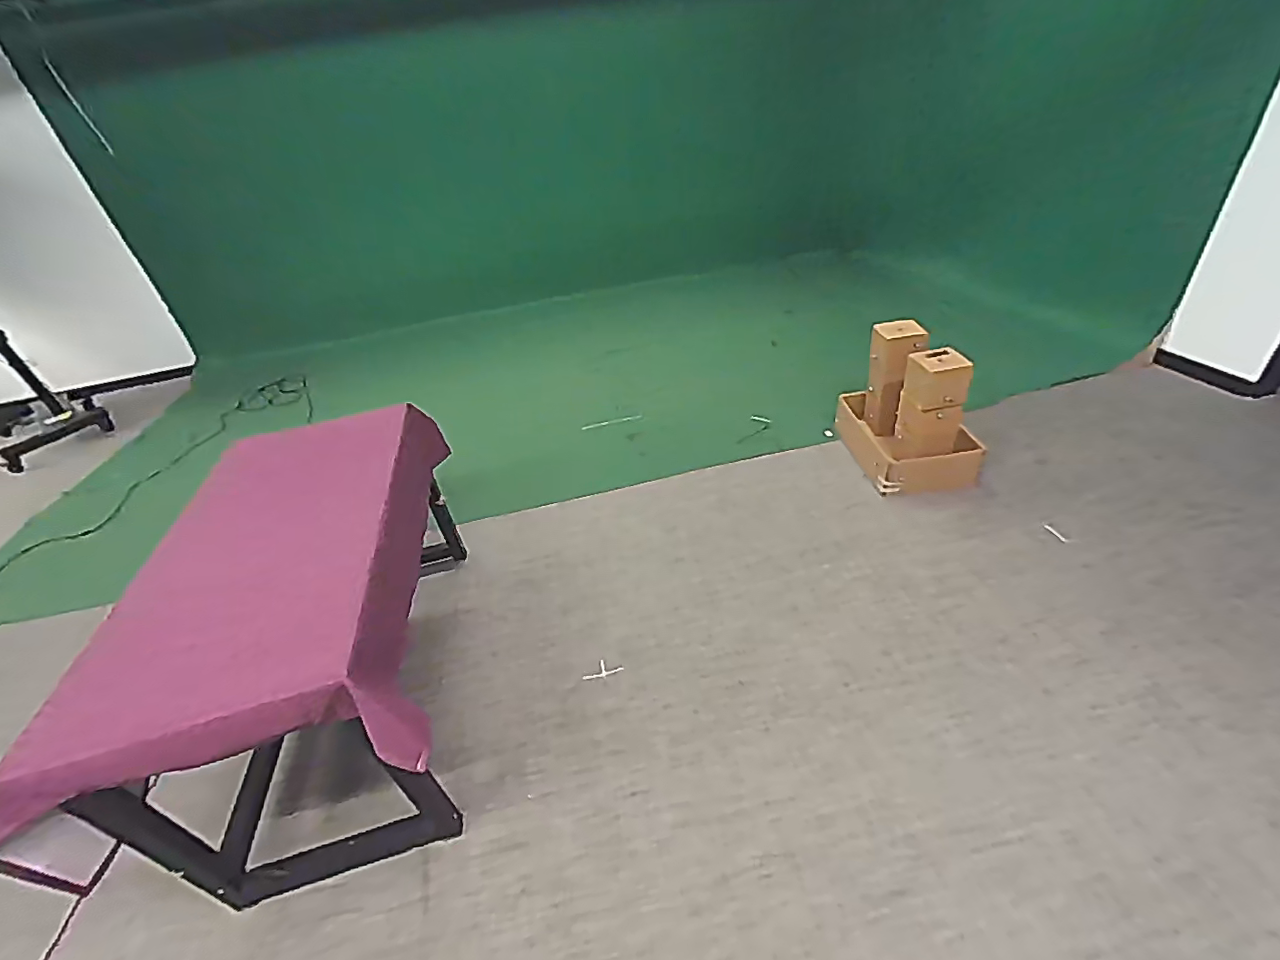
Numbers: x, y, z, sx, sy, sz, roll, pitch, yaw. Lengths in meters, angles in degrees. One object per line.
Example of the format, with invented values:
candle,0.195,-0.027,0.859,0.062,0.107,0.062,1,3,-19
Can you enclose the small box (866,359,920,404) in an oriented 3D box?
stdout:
small box,1.169,-0.472,2.512,0.179,0.176,0.168,-7,37,5

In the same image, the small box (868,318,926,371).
small box,1.142,-0.604,2.417,0.179,0.176,0.168,-8,37,4
